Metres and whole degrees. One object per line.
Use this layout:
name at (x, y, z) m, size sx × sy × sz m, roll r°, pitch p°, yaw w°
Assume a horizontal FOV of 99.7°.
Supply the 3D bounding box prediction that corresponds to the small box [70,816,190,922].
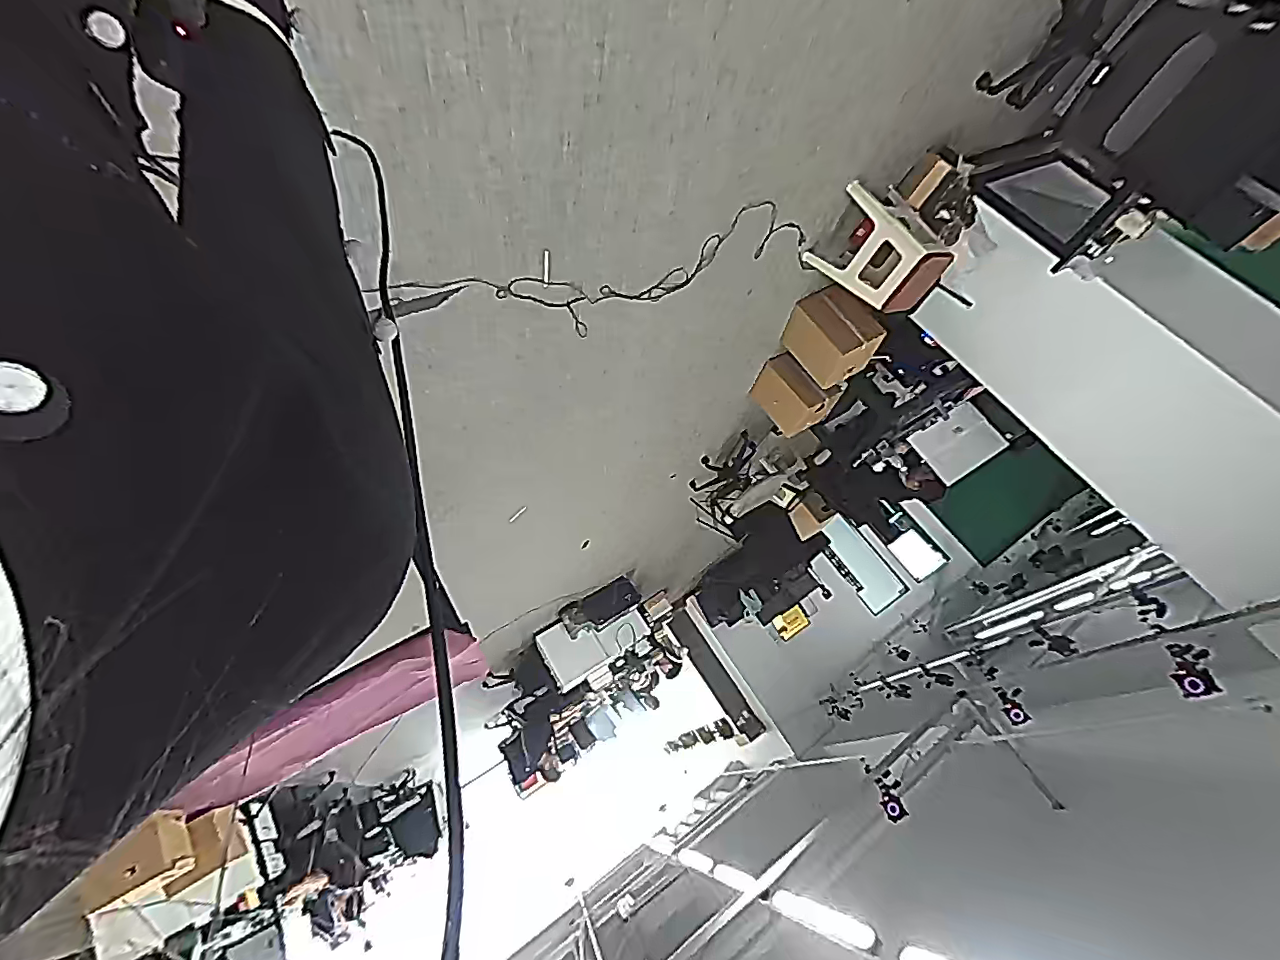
small box at (-1.404, 1.057, 1.491) m, size 0.179 × 0.176 × 0.168 m, roll -25°, pitch 158°, yaw -26°
